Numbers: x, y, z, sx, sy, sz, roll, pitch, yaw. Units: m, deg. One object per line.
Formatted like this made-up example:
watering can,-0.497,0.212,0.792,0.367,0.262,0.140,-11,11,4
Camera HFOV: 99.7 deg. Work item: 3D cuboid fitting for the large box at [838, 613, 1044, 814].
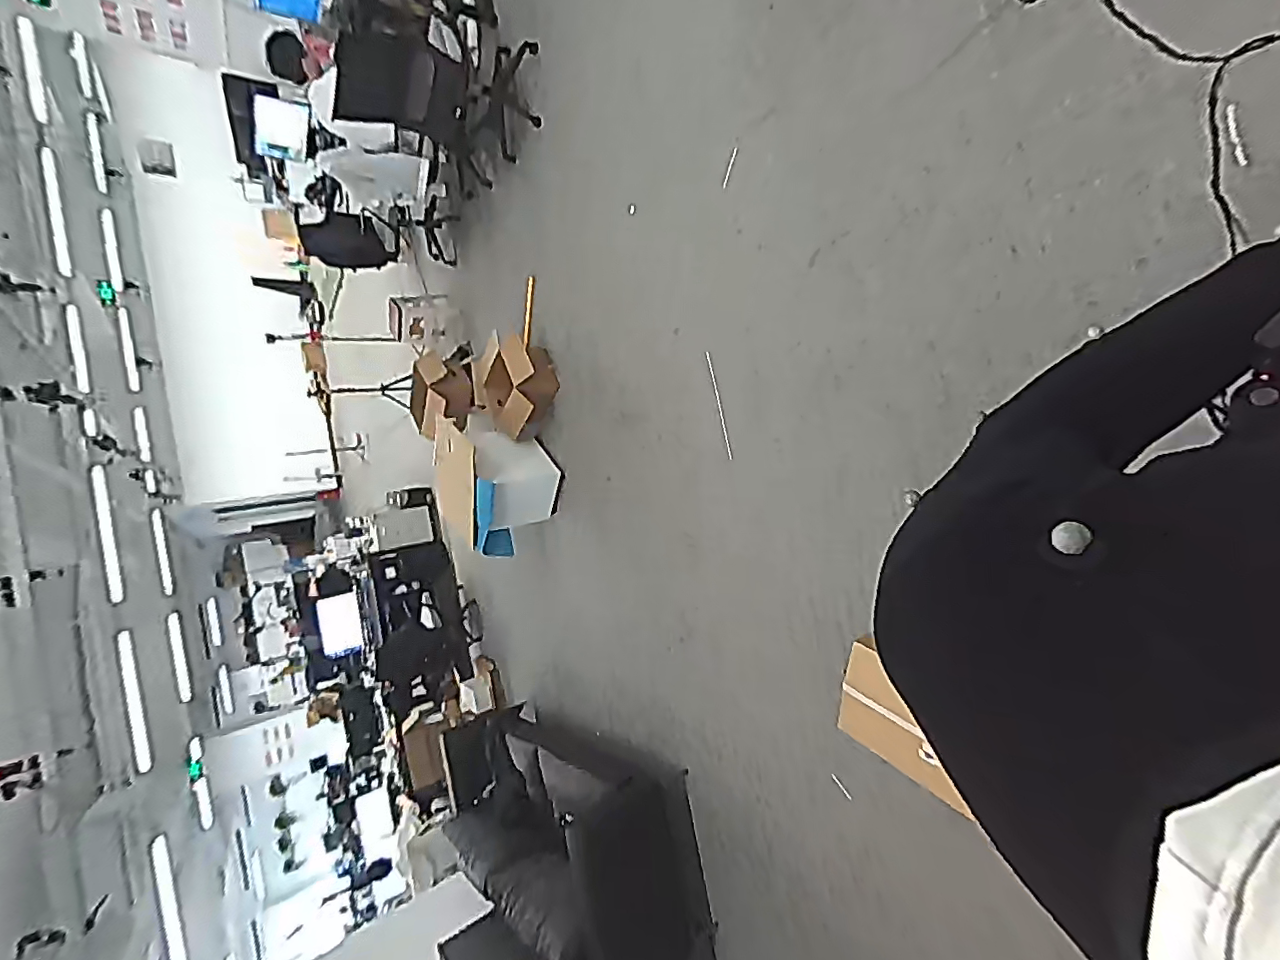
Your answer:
large box,0.852,0.635,1.561,0.408,0.320,0.320,22,116,48
